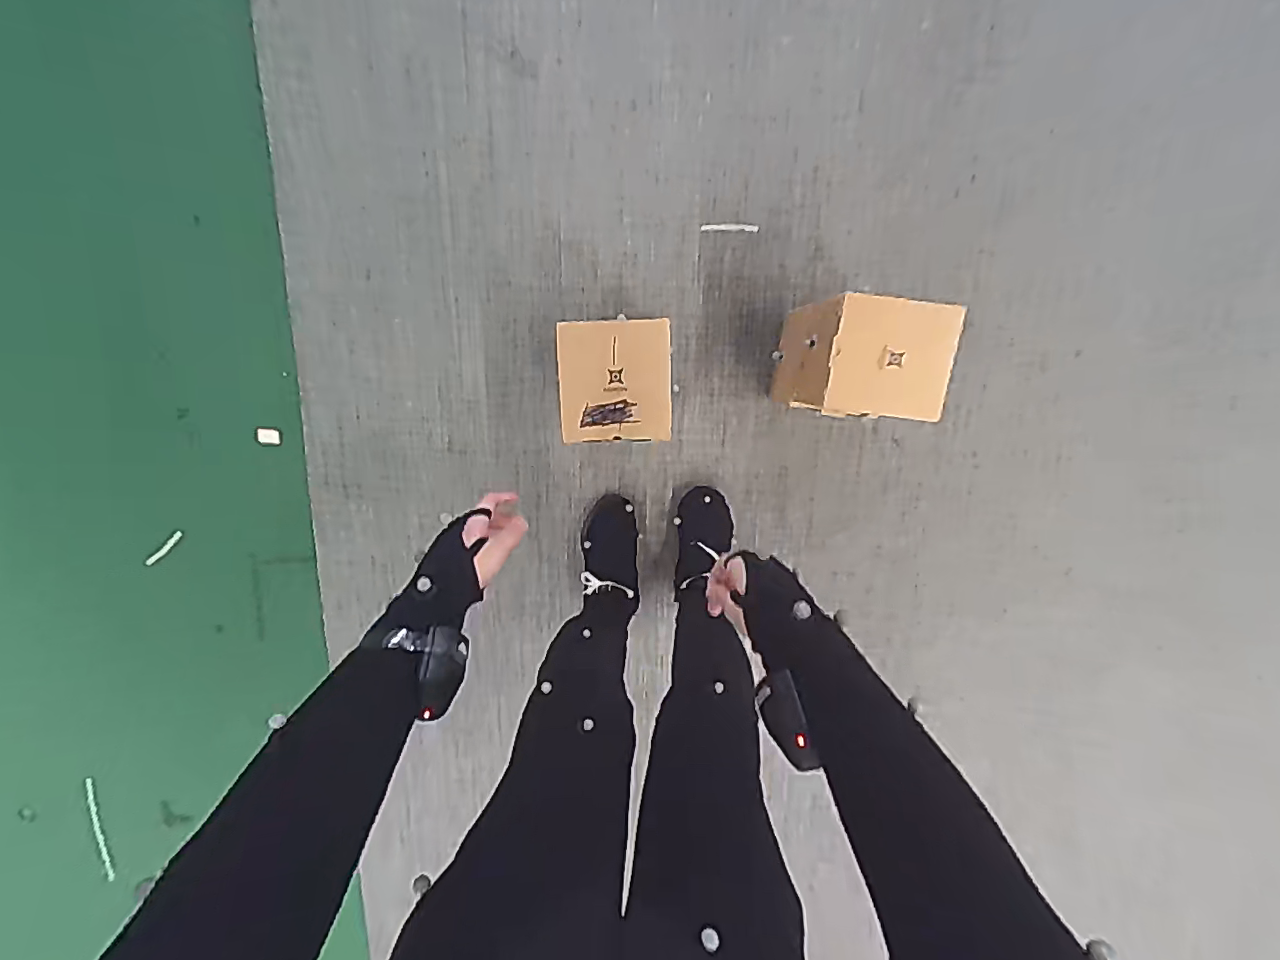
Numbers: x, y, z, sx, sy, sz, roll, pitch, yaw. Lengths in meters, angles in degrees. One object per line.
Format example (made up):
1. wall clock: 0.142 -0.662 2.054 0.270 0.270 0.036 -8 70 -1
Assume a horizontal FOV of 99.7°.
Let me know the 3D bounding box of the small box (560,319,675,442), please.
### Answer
1. small box: -0.028 -0.160 0.863 0.168 0.176 0.179 -2 102 2

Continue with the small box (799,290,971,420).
1. small box: 0.367 -0.195 0.844 0.179 0.176 0.168 6 103 1

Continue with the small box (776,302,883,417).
1. small box: 0.361 -0.225 1.005 0.168 0.176 0.179 8 104 -1
